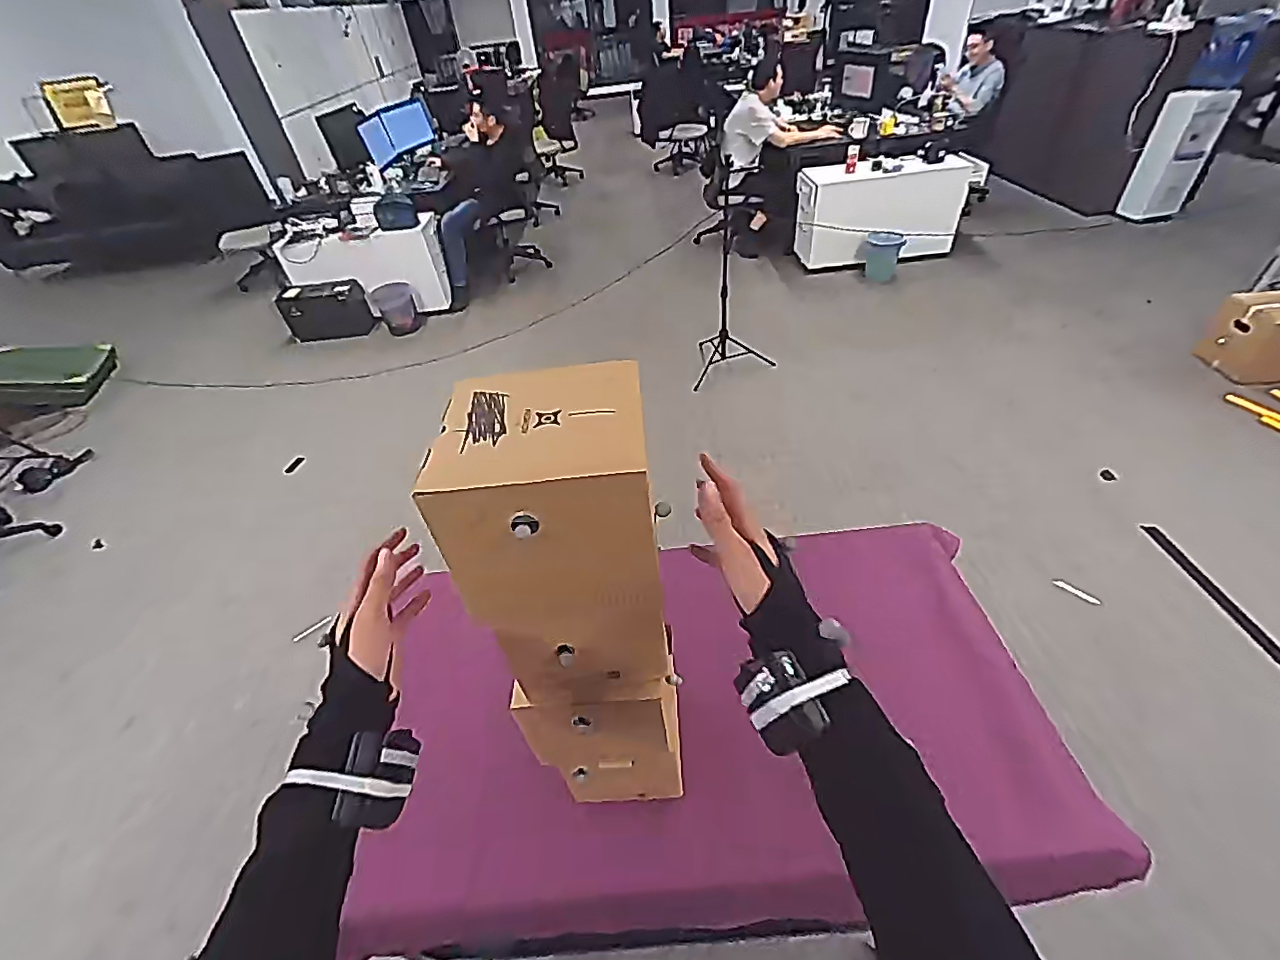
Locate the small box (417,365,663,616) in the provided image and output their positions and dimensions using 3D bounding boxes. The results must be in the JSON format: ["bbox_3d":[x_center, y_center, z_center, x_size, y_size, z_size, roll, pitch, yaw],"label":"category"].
[{"bbox_3d":[-0.075,0.012,0.509,0.179,0.176,0.168,-5,41,2],"label":"small box"}]

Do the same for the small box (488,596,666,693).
[{"bbox_3d":[-0.066,0.127,0.628,0.168,0.176,0.179,-10,40,-2],"label":"small box"}]

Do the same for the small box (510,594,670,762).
[{"bbox_3d":[-0.055,0.259,0.722,0.179,0.176,0.168,-4,42,3],"label":"small box"}]
